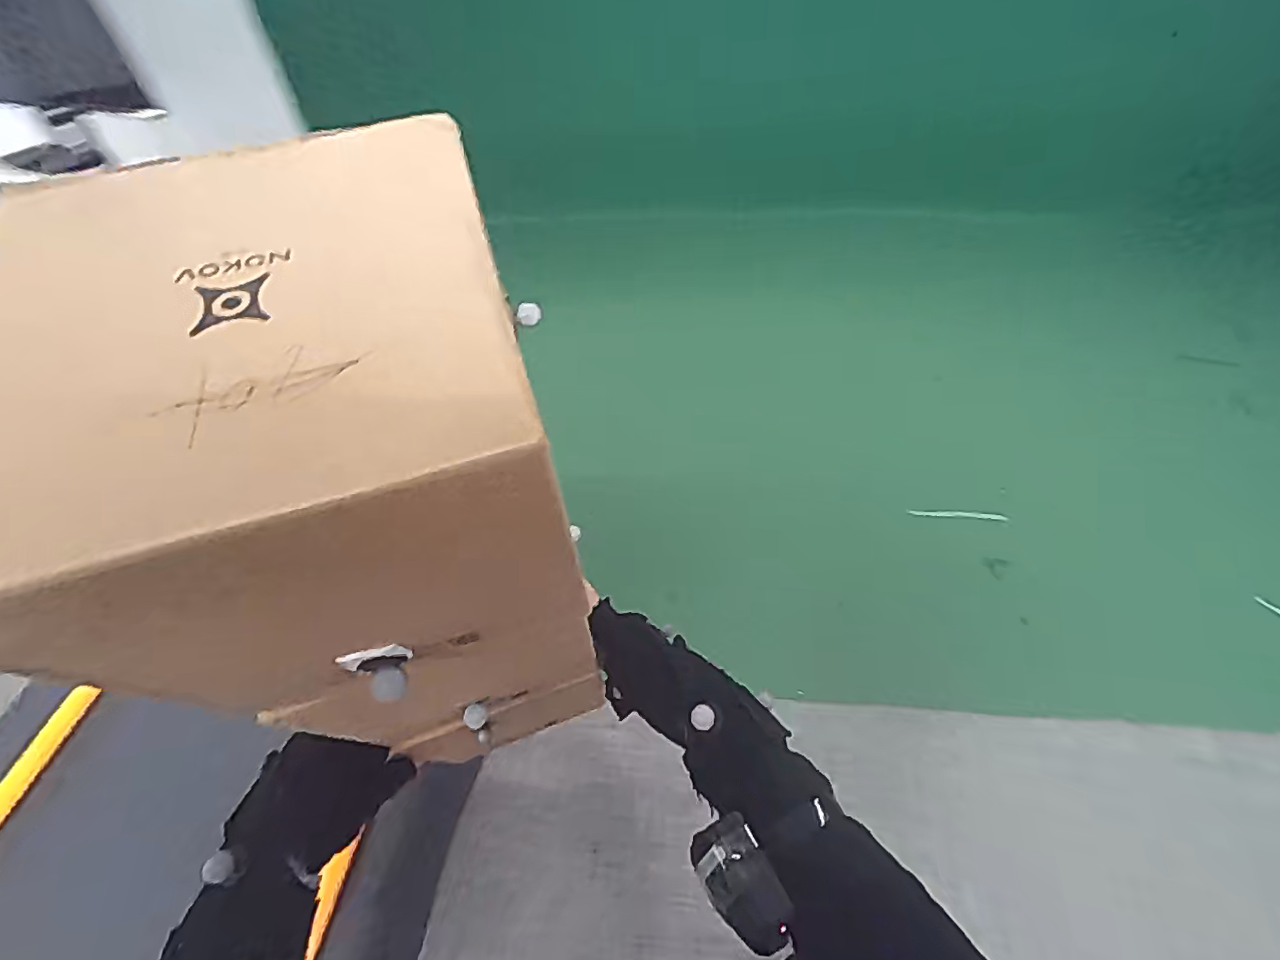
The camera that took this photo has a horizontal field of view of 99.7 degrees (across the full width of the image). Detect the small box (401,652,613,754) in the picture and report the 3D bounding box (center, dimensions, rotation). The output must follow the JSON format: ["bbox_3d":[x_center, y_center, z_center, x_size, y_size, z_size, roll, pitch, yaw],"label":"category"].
[{"bbox_3d":[-0.130,0.147,0.531,0.168,0.176,0.179,-17,62,-10],"label":"small box"}]

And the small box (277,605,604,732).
[{"bbox_3d":[-0.128,0.061,0.389,0.168,0.176,0.179,-16,62,-9],"label":"small box"}]
